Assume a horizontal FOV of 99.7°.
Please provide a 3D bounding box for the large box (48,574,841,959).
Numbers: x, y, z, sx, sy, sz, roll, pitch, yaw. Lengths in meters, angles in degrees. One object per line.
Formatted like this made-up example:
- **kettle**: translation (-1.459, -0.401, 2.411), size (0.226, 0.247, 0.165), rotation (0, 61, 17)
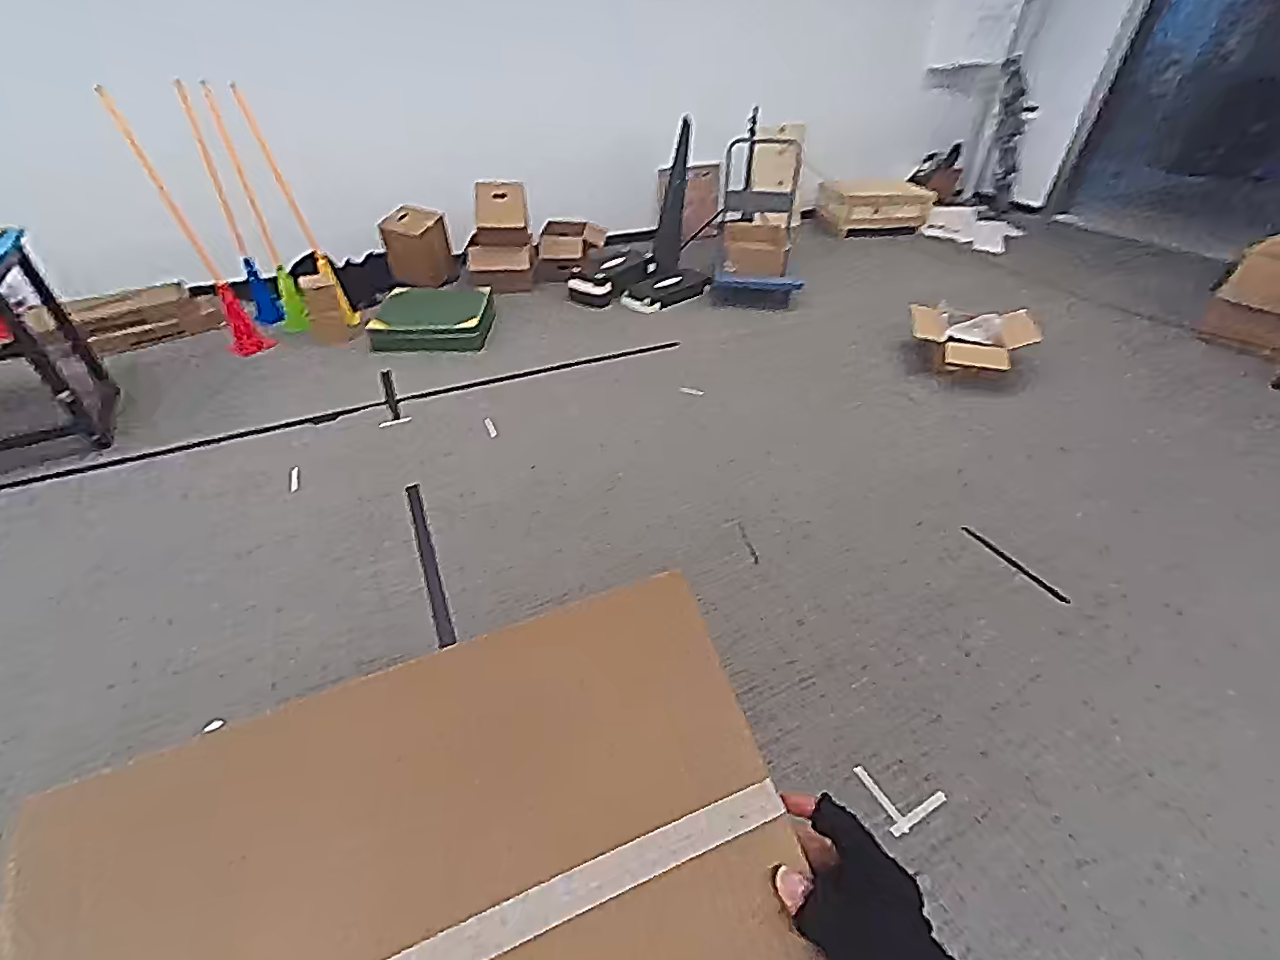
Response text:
- **large box**: translation (-0.116, 0.322, 0.436), size (0.408, 0.320, 0.320), rotation (-17, 69, -14)
